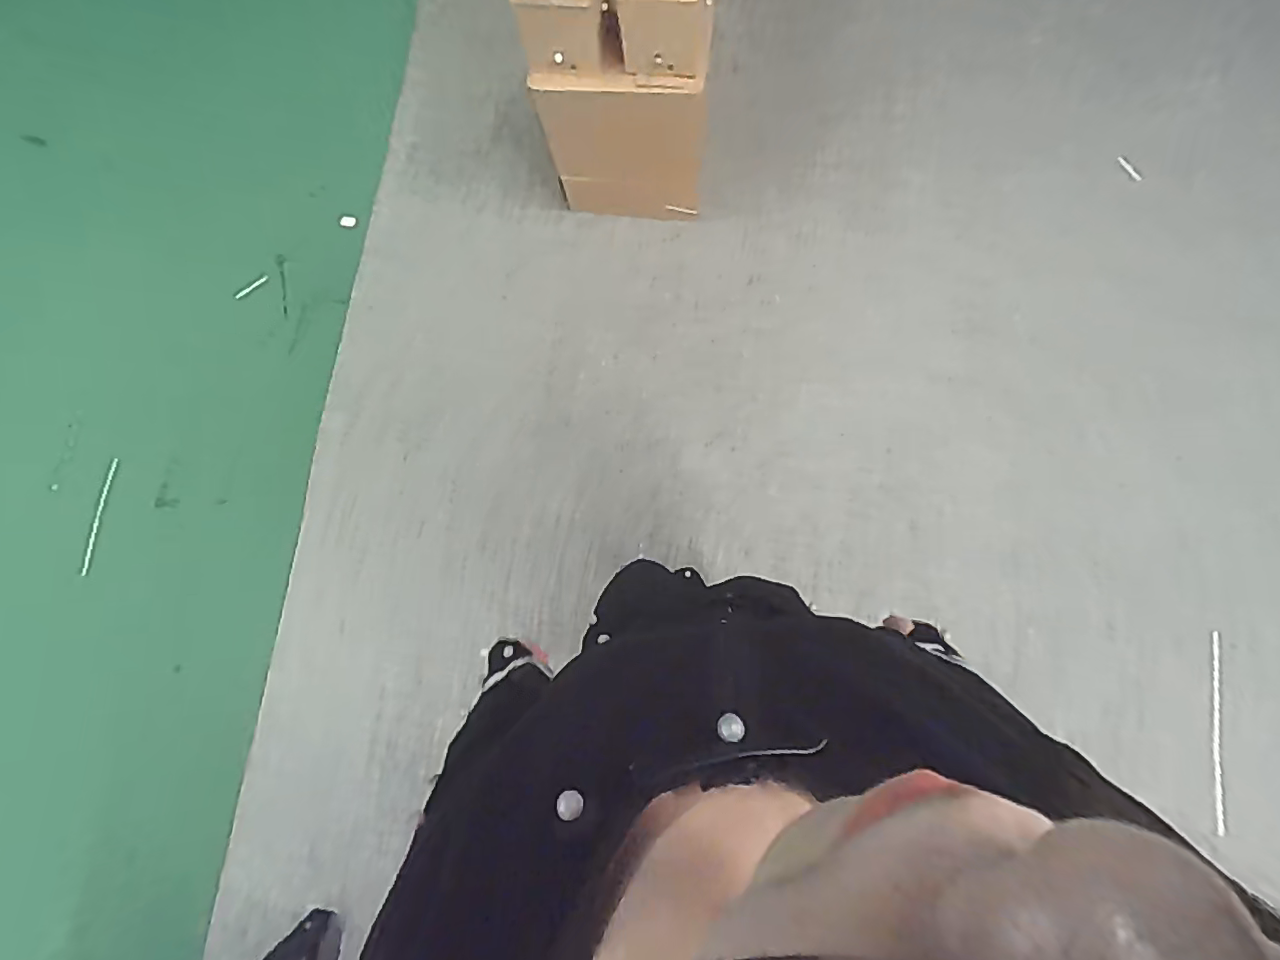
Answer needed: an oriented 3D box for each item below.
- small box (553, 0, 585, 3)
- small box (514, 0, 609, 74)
[{"bbox_3d":[-0.178,-1.047,1.011,0.168,0.176,0.179,7,83,4],"label":"small box"},{"bbox_3d":[-0.165,-1.038,1.173,0.168,0.176,0.179,8,84,4],"label":"small box"}]
